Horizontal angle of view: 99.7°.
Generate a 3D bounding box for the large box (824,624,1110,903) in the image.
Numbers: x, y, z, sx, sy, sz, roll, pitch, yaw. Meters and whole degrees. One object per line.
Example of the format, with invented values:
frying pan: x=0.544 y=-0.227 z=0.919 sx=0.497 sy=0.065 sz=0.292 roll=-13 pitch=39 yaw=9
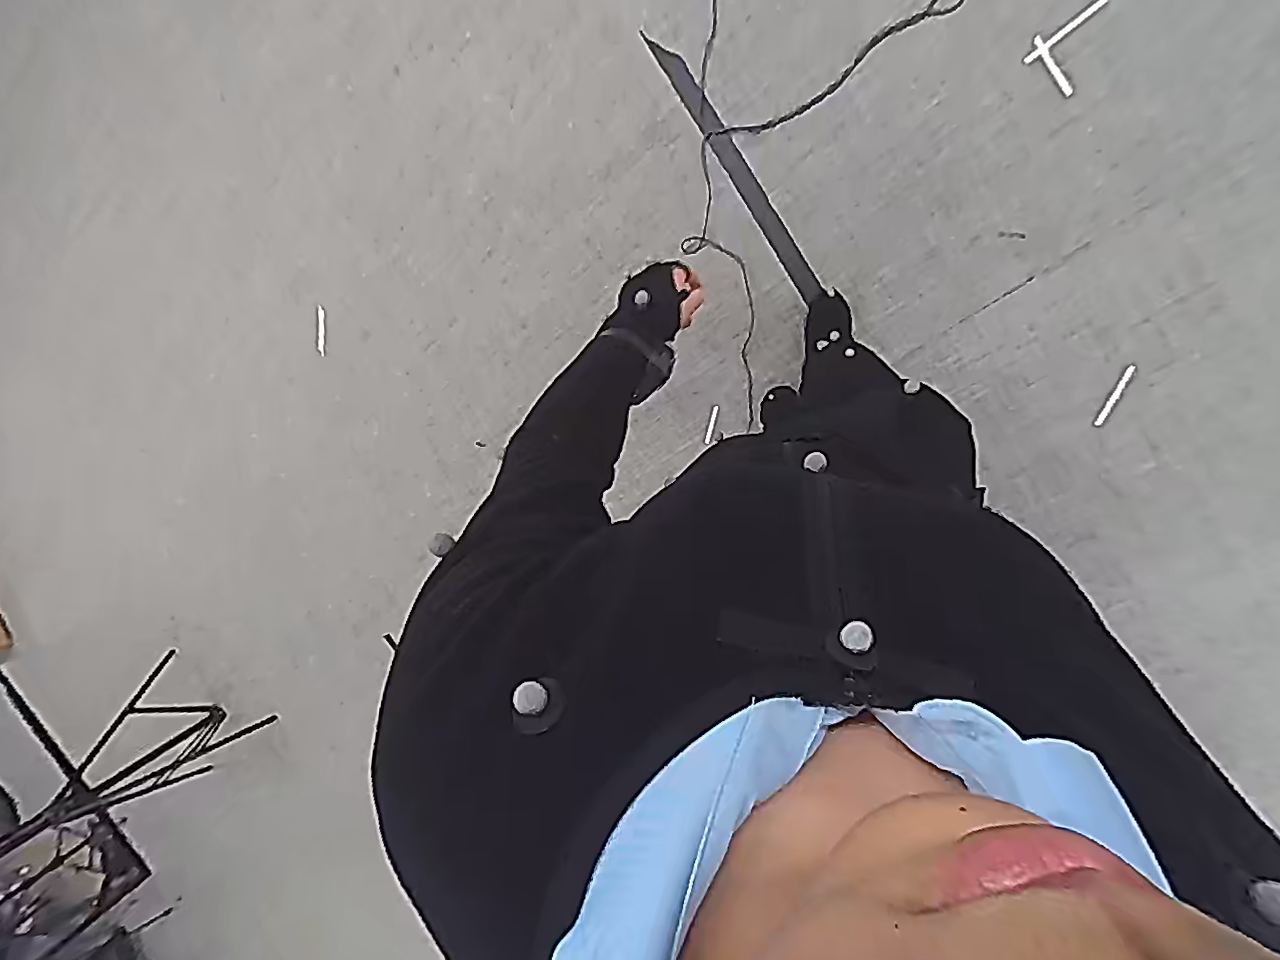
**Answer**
large box: x=0.664 y=0.604 z=1.190 sx=0.320 sy=0.320 sz=0.408 roll=44 pitch=113 yaw=4
